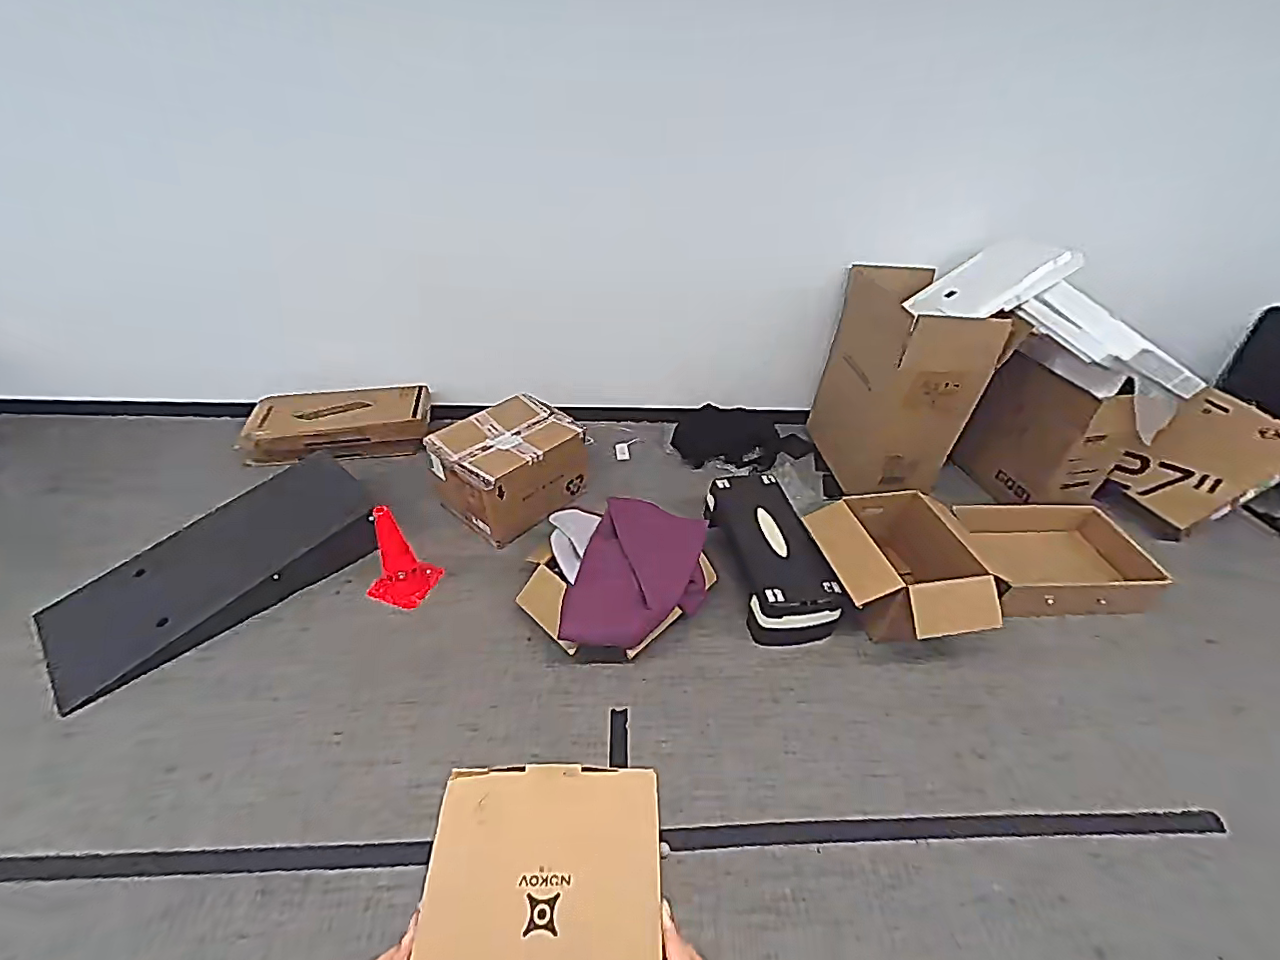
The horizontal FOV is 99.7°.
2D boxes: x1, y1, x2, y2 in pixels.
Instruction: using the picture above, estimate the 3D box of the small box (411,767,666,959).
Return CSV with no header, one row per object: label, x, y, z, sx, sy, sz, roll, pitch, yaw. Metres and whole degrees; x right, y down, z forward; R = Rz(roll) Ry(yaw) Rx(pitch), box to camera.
small box,-0.069,0.345,0.423,0.168,0.176,0.179,1,47,-2
